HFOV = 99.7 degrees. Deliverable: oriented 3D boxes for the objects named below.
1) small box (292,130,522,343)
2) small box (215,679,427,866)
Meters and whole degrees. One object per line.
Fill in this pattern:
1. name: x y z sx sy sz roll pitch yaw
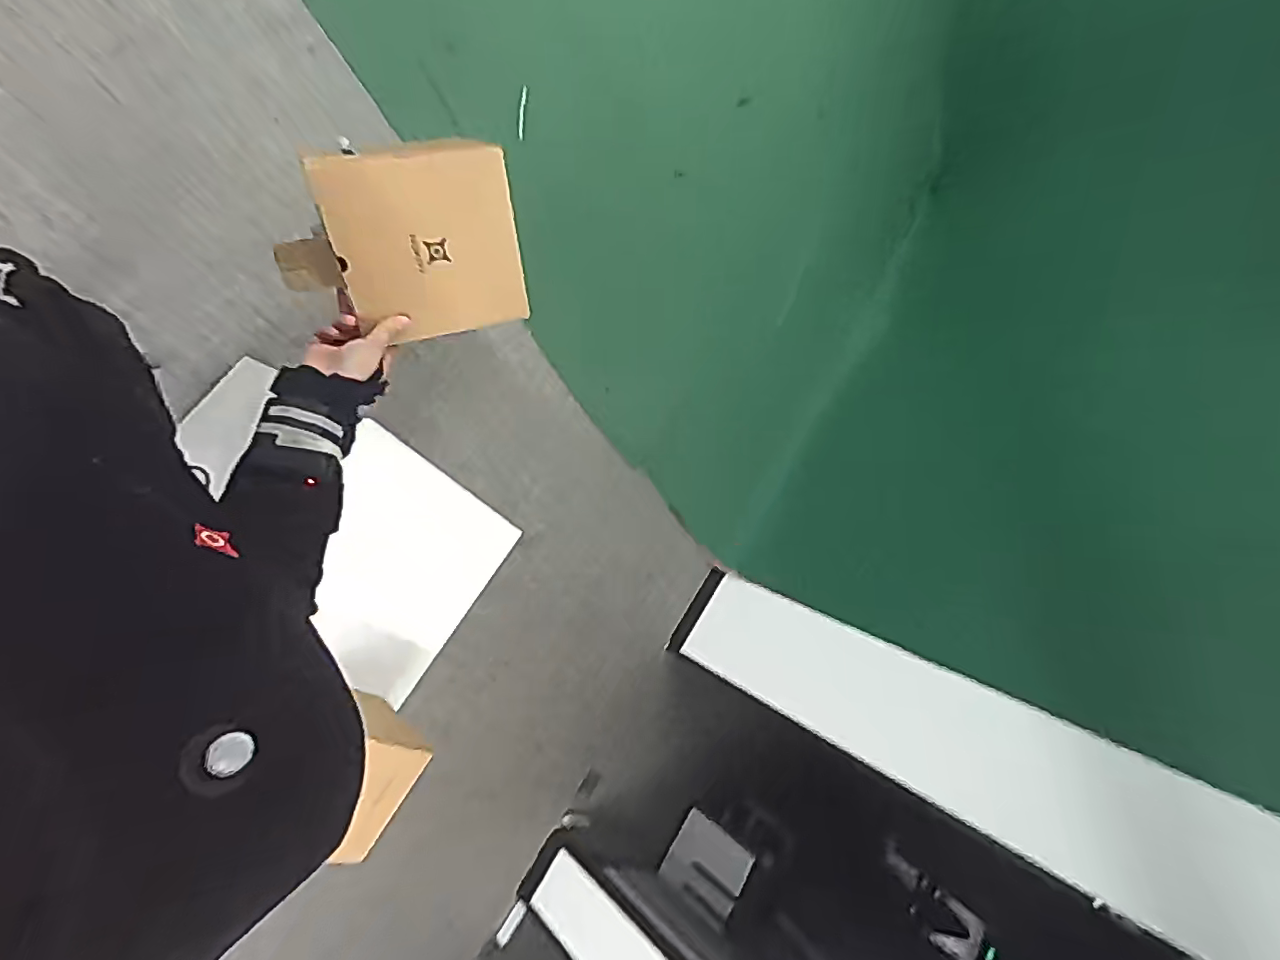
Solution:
1. small box: -0.247 -0.269 0.579 0.179 0.176 0.168 -19 130 -20
2. small box: -0.455 0.411 0.774 0.168 0.176 0.179 -56 140 -16
